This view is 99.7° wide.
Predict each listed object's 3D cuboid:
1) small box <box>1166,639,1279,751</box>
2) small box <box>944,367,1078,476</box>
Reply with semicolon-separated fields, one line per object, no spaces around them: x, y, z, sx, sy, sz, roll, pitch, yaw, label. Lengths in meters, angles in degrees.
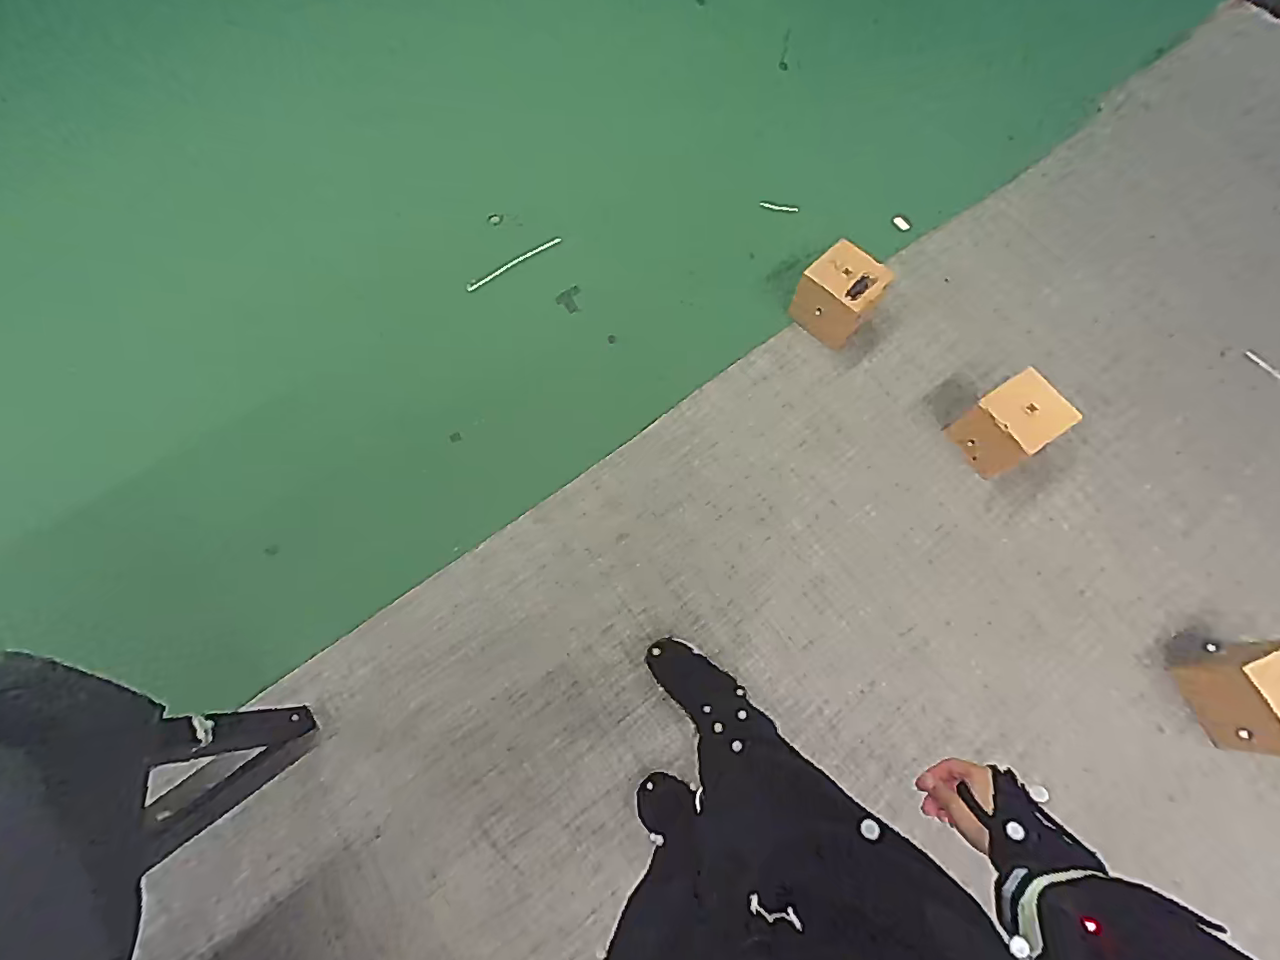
1.275;0.438;1.116;0.168;0.176;0.179;-19;70;-8;small box
0.897;-0.138;1.327;0.179;0.176;0.168;-32;73;-10;small box
